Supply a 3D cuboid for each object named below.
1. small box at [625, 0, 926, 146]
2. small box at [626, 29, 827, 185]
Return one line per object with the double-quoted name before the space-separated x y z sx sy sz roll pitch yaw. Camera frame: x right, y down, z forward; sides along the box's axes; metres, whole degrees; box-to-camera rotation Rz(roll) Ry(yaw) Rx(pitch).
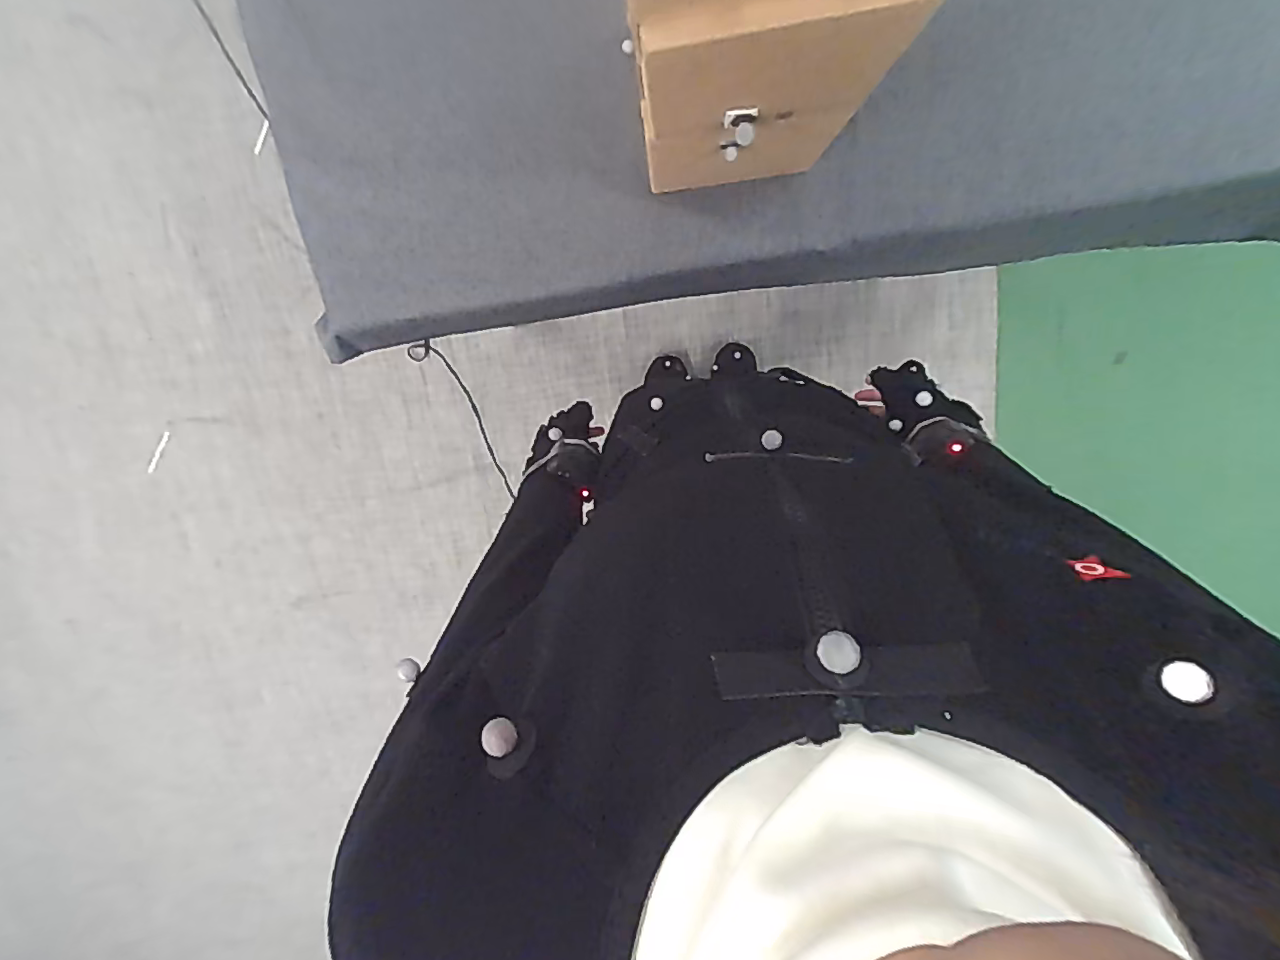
"small box" 0.070 -0.350 0.349 0.168 0.176 0.179 -6 105 7
"small box" 0.080 -0.393 0.504 0.179 0.176 0.168 -5 105 4
